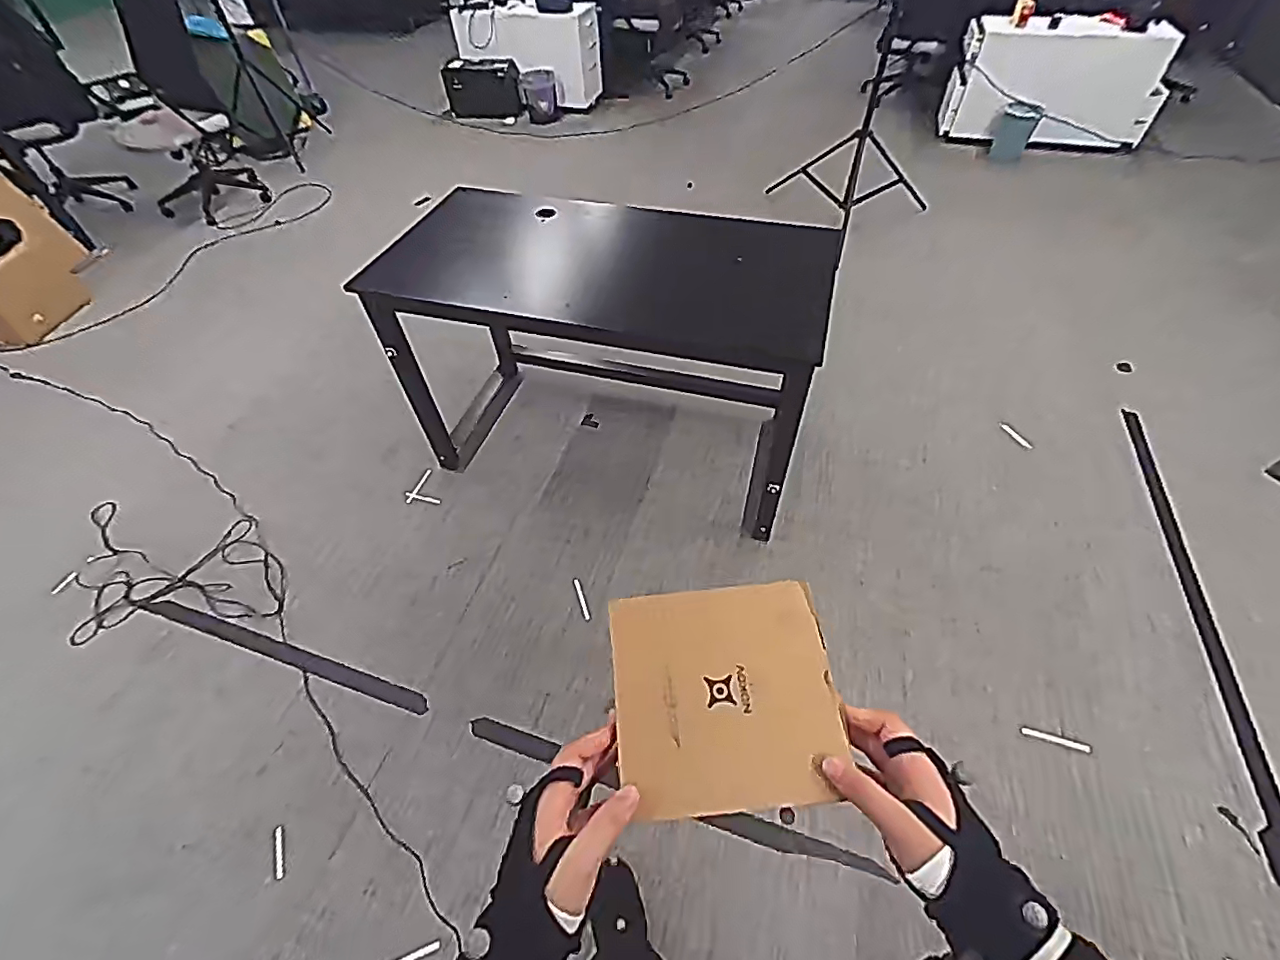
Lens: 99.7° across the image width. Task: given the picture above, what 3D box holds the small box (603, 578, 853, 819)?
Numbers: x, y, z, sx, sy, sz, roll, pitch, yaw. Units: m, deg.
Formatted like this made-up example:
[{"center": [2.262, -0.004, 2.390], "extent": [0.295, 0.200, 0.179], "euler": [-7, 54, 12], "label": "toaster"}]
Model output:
[{"center": [0.065, 0.203, 0.498], "extent": [0.179, 0.176, 0.168], "euler": [-7, 59, -1], "label": "small box"}]
